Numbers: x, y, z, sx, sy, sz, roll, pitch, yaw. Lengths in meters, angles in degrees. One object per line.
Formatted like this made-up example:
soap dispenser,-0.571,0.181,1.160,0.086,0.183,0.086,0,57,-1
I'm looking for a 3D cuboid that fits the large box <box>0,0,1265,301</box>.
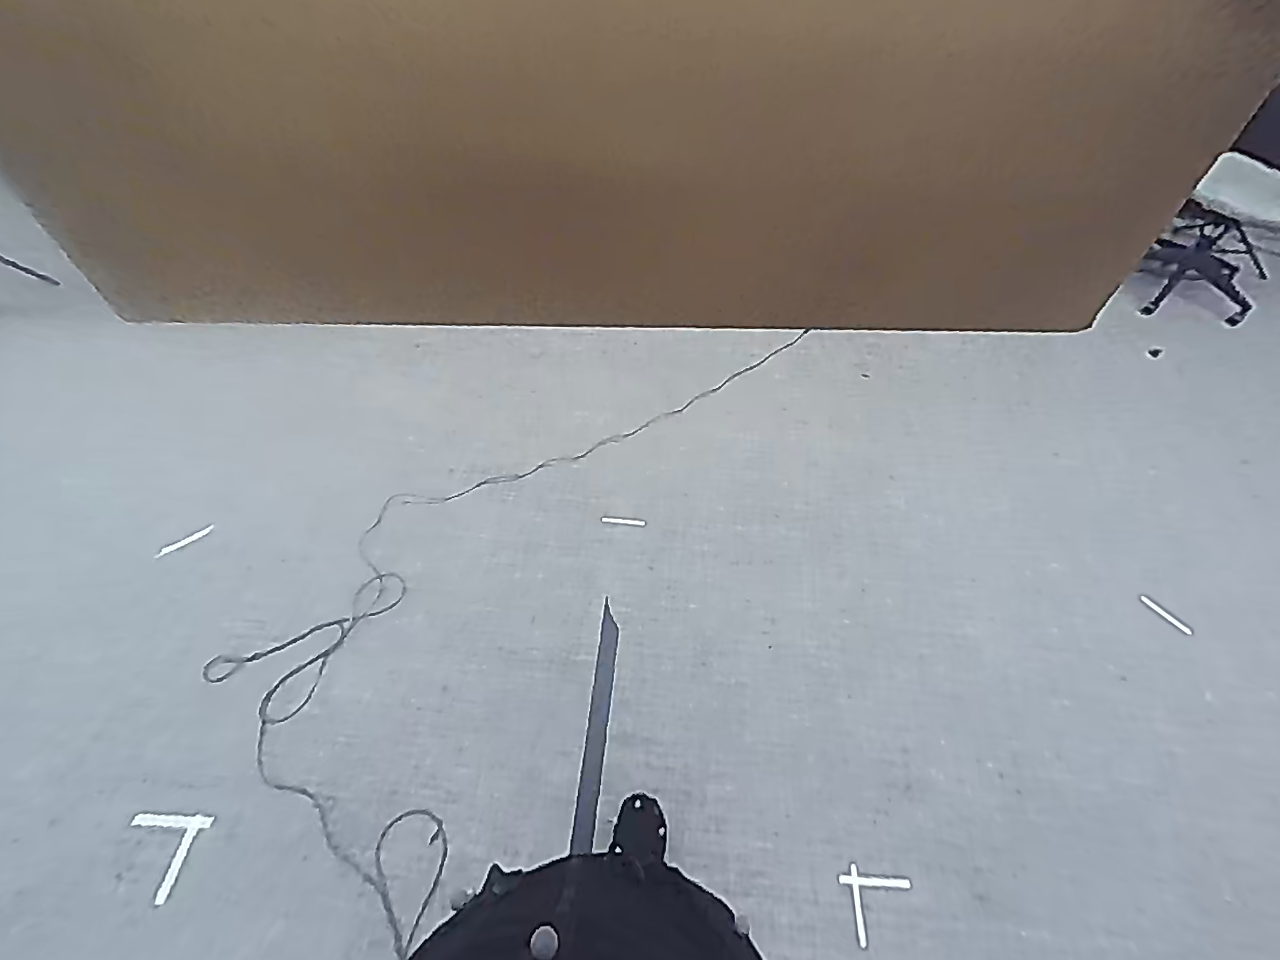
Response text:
large box,-0.009,-0.288,0.214,0.408,0.320,0.320,1,51,-1
